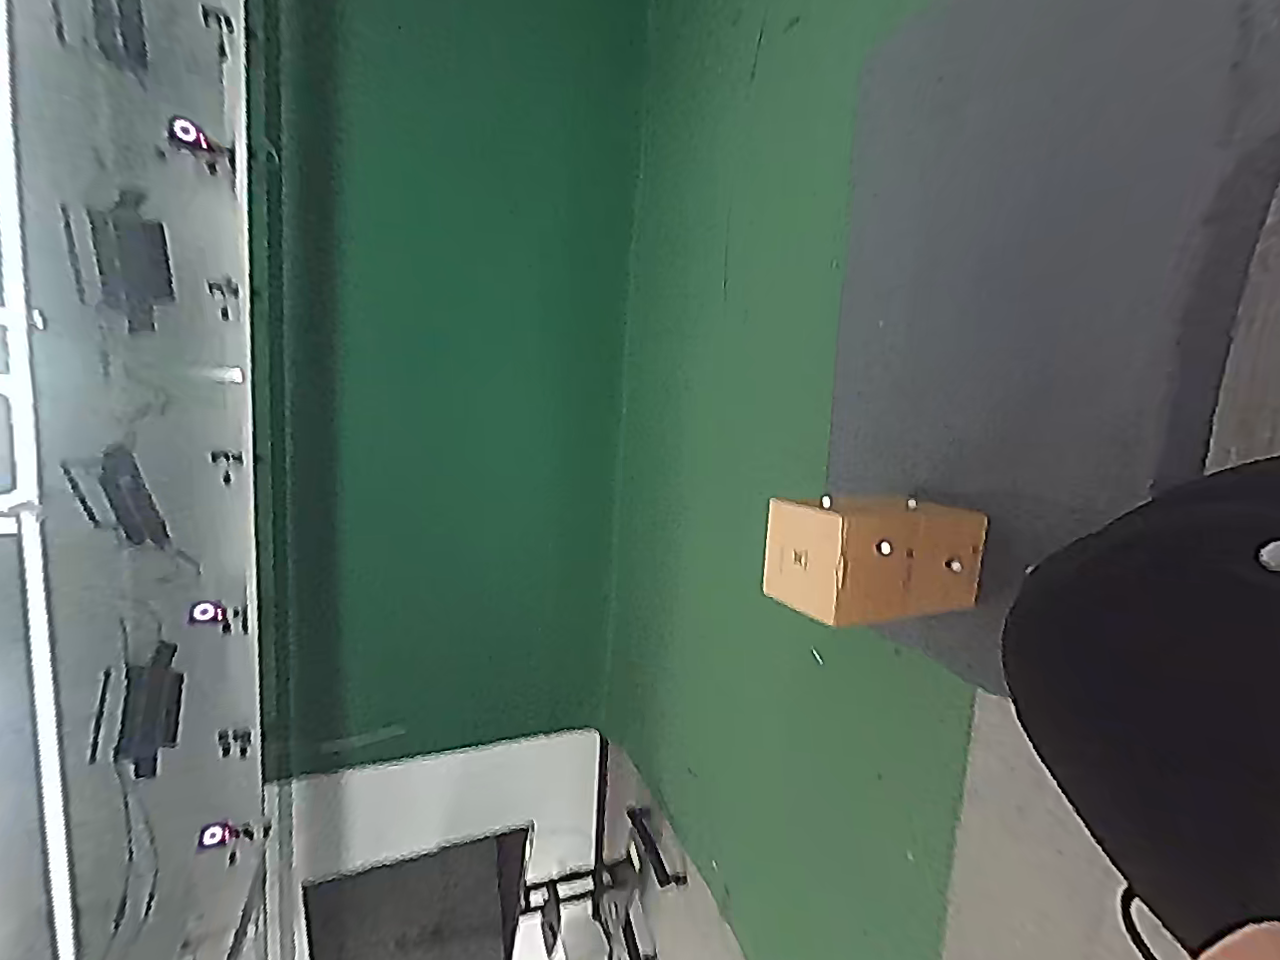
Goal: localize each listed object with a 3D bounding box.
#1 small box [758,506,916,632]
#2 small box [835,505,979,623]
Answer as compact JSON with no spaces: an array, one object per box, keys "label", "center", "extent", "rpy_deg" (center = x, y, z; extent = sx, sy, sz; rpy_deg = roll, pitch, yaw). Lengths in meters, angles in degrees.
[{"label":"small box","center":[0.318,0.135,0.884],"extent":[0.179,0.176,0.168],"rpy_deg":[-167,80,-67]},{"label":"small box","center":[0.462,0.139,0.961],"extent":[0.179,0.176,0.168],"rpy_deg":[-162,76,-65]}]
